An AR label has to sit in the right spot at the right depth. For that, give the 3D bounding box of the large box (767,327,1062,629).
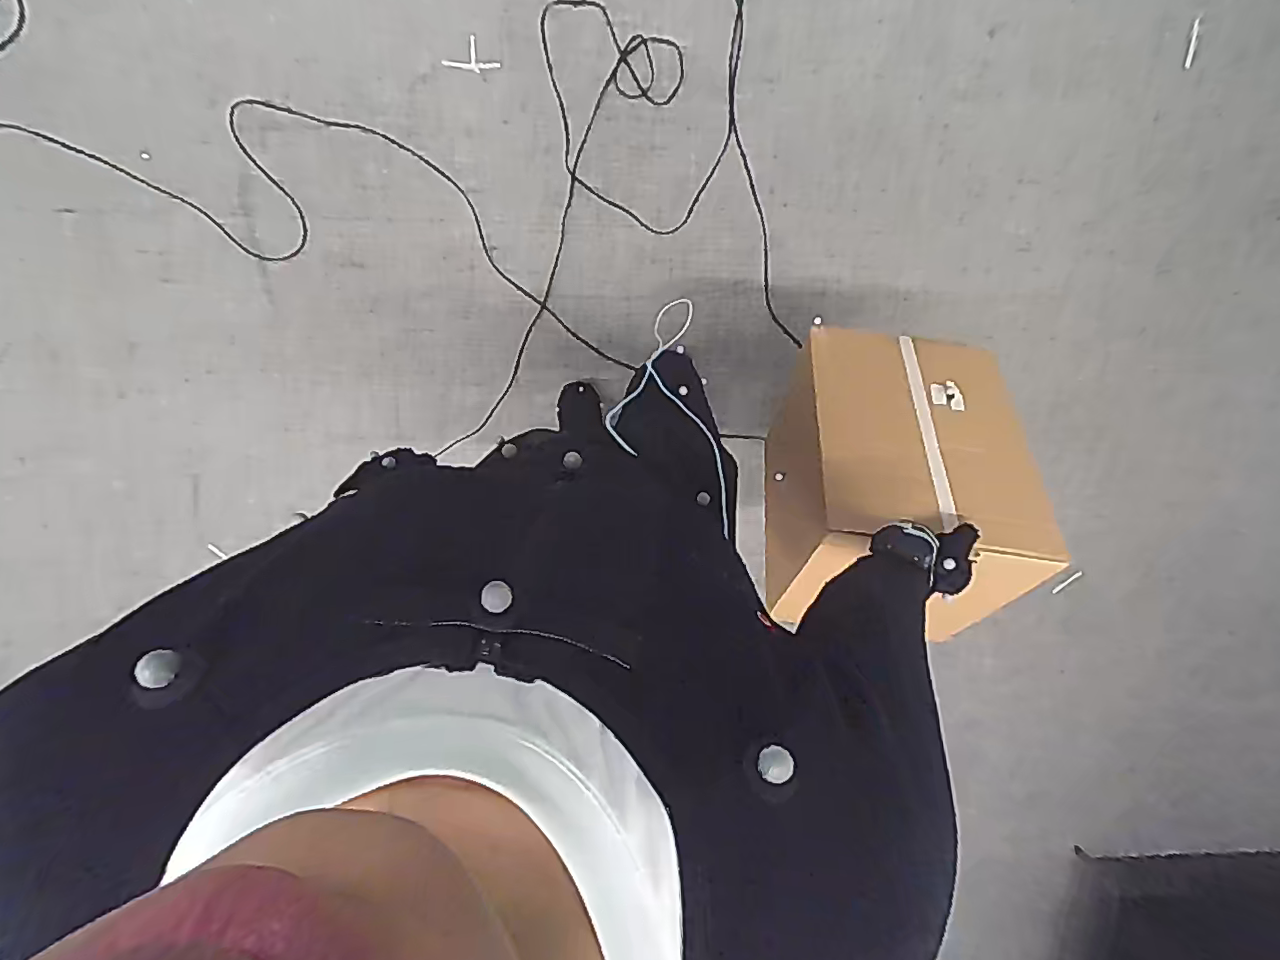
[{"bbox_3d":[0.410,0.003,0.933,0.320,0.408,0.320,8,146,0],"label":"large box"}]
